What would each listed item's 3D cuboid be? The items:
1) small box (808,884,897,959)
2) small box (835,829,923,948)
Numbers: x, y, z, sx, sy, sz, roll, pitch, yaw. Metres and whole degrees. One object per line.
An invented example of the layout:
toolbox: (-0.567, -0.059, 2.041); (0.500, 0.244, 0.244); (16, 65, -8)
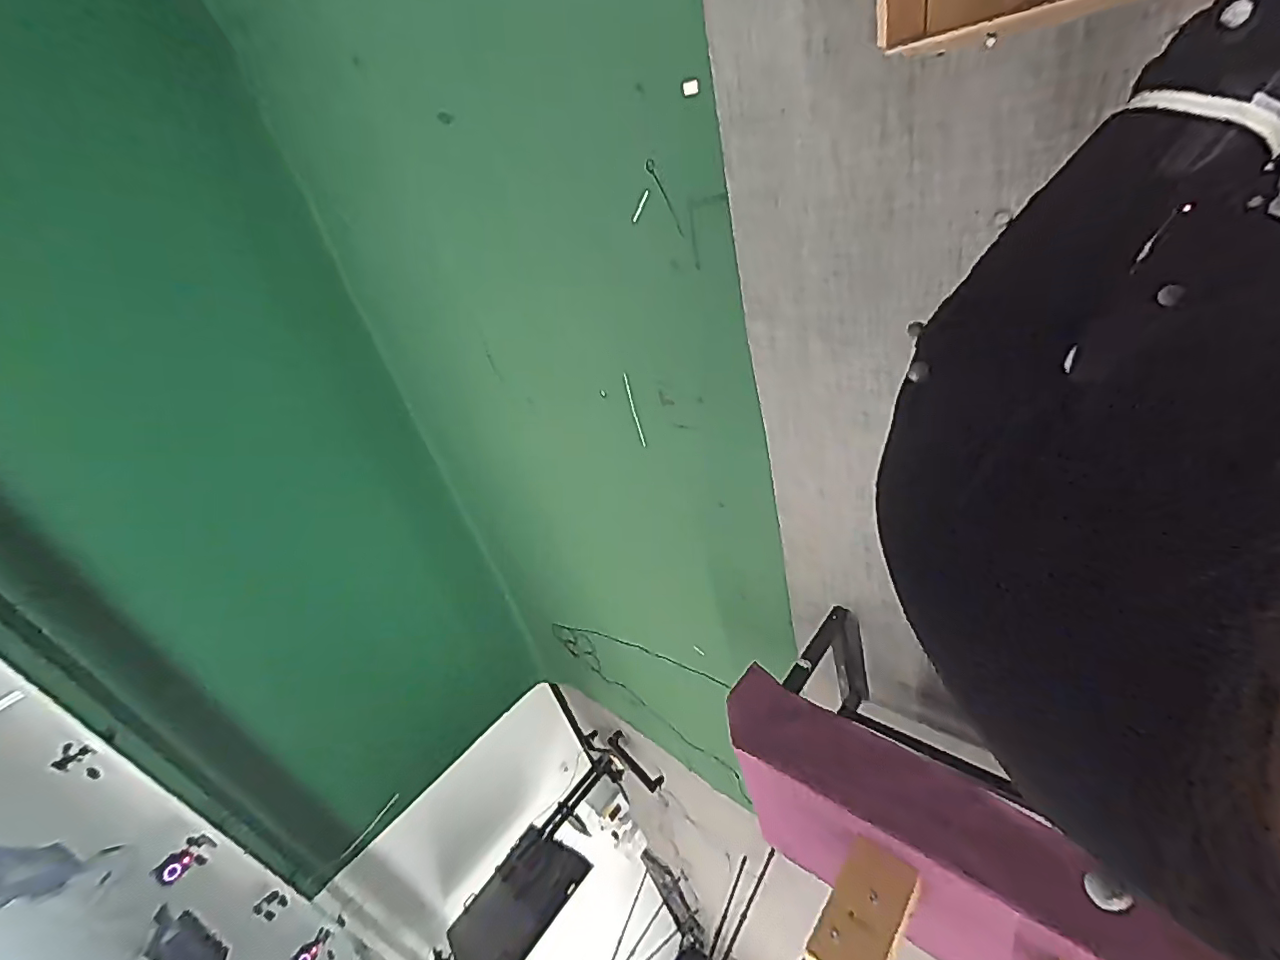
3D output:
small box: (0.556, 1.213, 1.412); (0.168, 0.176, 0.179); (19, 136, 41)
small box: (0.661, 1.120, 1.494); (0.179, 0.176, 0.168); (18, 134, 41)
